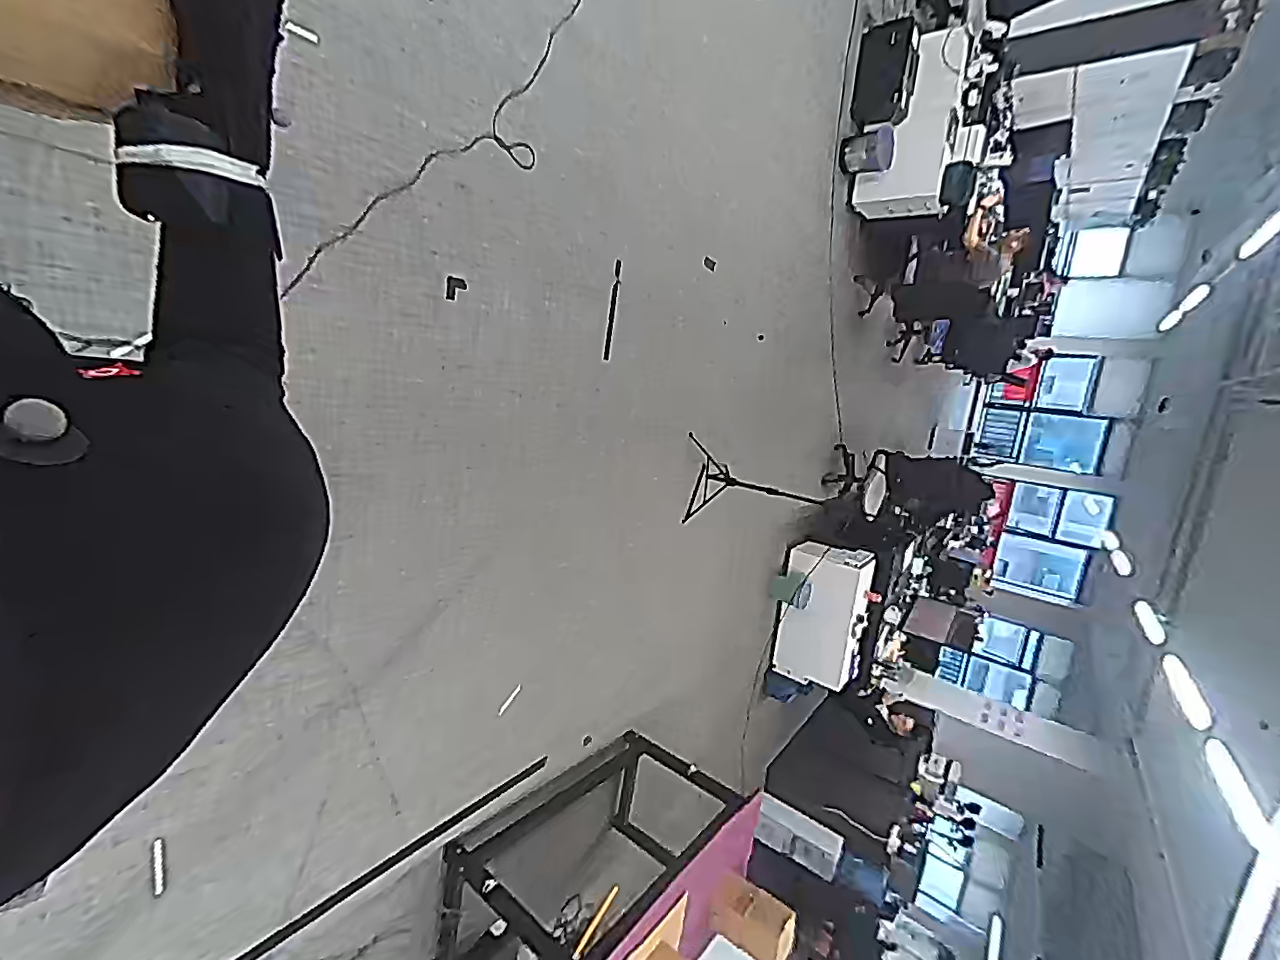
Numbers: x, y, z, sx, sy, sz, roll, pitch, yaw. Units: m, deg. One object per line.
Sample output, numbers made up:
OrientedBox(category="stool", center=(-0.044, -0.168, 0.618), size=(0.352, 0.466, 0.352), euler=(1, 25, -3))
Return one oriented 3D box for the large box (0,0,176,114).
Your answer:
OrientedBox(category="large box", center=(-0.527, -0.421, 0.246), size=(0.408, 0.320, 0.320), euler=(-14, 124, -55))
